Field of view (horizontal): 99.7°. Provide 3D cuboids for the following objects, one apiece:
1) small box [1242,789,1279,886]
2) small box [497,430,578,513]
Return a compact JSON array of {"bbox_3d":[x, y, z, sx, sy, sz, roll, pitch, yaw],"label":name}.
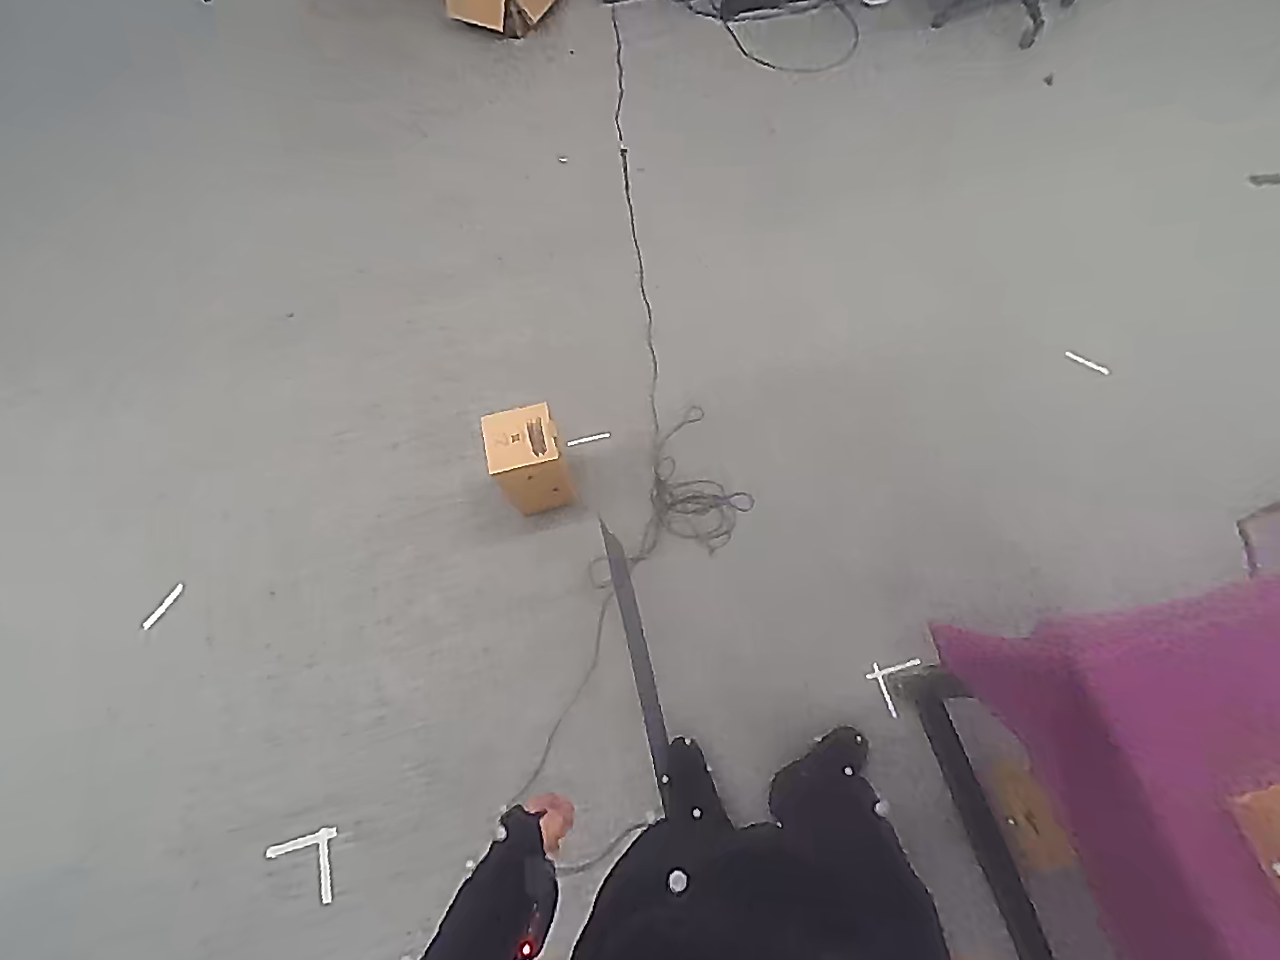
[{"bbox_3d":[0.825,0.418,0.562,0.179,0.176,0.168,-14,69,-2],"label":"small box"},{"bbox_3d":[-0.293,-0.017,1.568,0.179,0.176,0.168,-16,69,-3],"label":"small box"}]
